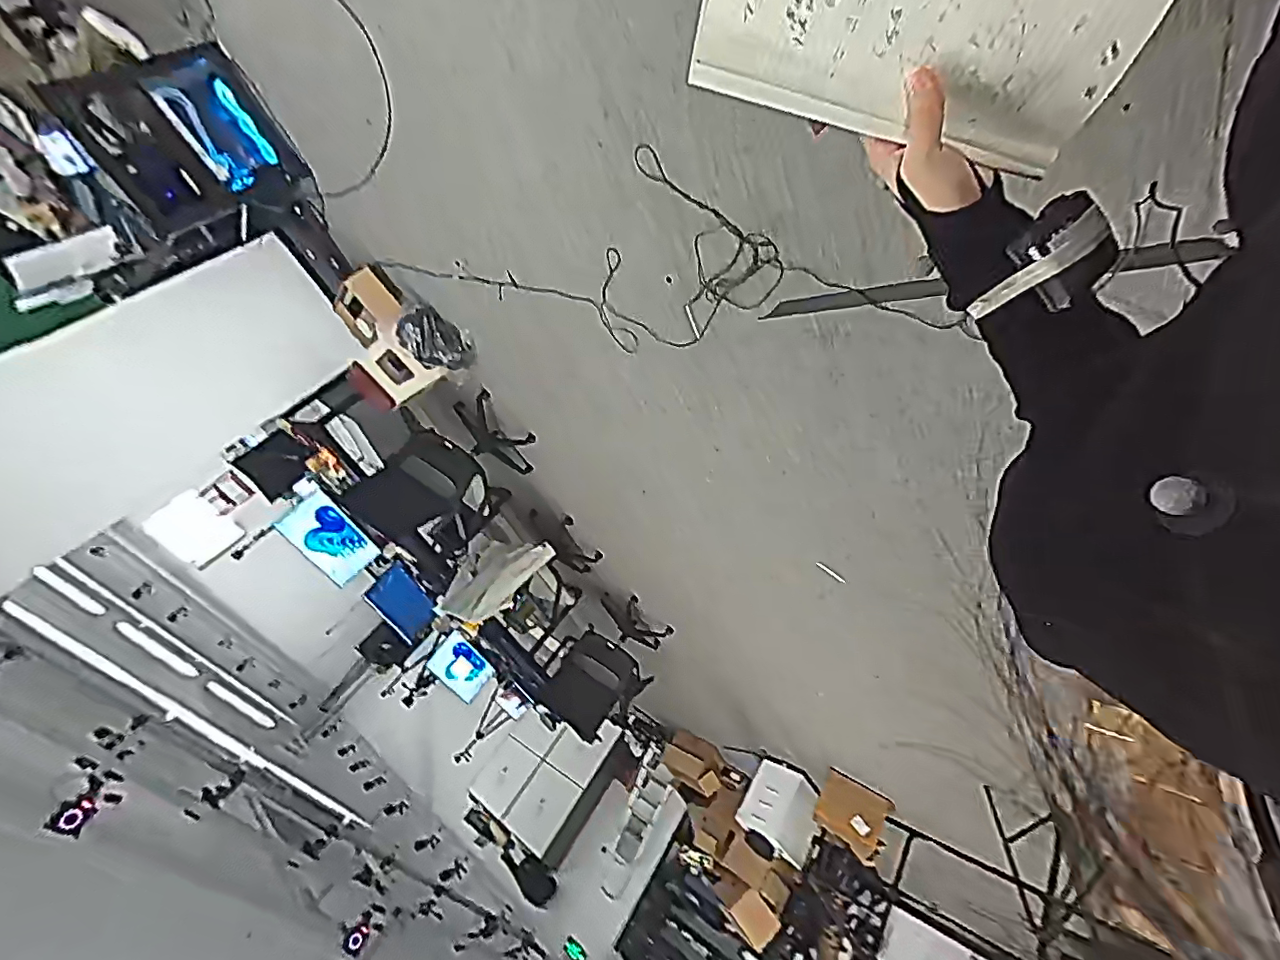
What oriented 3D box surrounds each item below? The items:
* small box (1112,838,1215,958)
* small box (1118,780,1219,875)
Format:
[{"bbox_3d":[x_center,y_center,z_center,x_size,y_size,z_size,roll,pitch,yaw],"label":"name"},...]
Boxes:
[{"bbox_3d":[1.355,1.076,1.400,0.168,0.176,0.179,11,140,39],"label":"small box"},{"bbox_3d":[1.438,0.955,1.476,0.179,0.176,0.168,8,139,40],"label":"small box"}]
